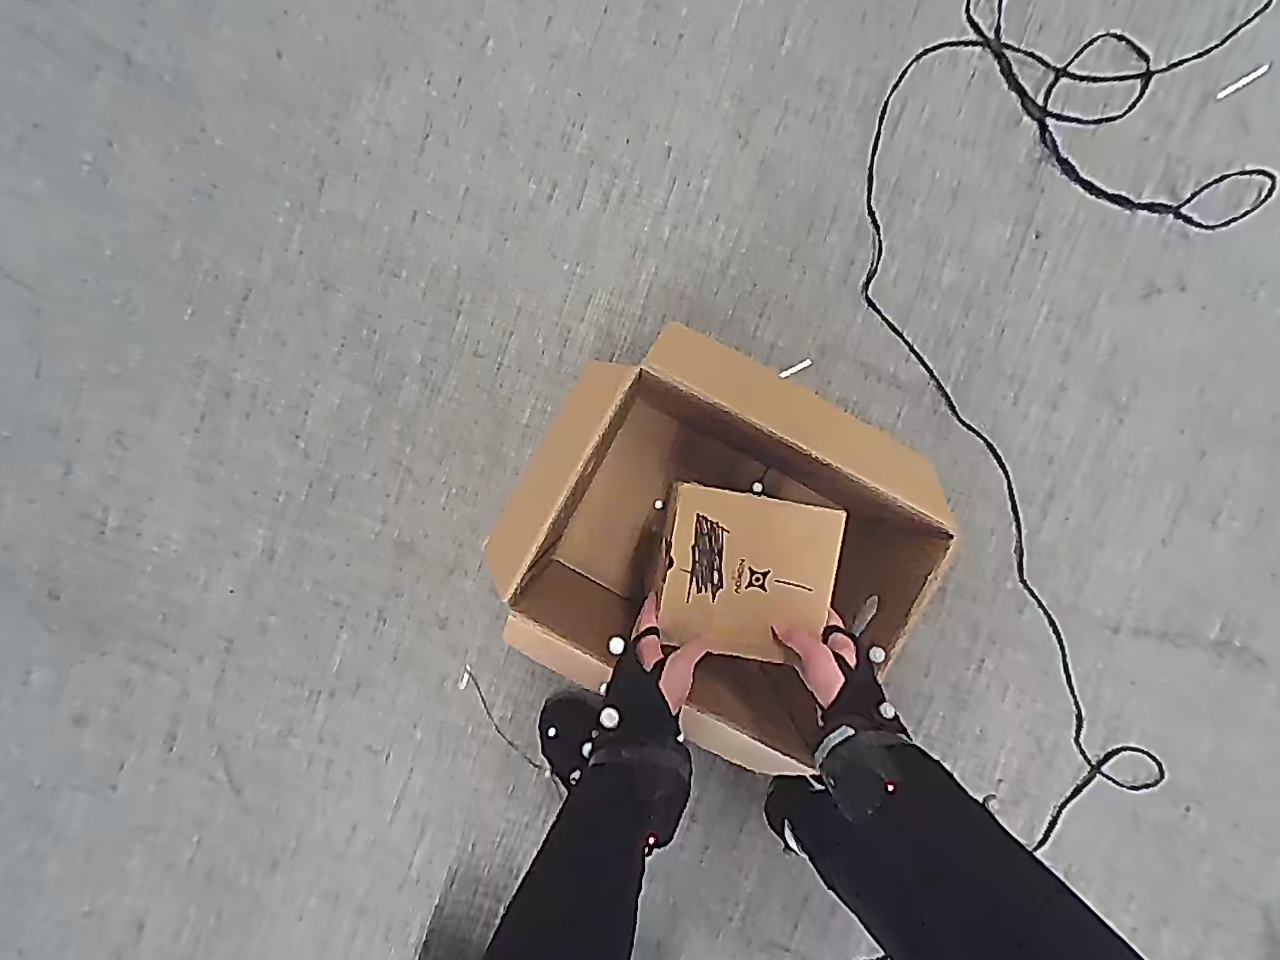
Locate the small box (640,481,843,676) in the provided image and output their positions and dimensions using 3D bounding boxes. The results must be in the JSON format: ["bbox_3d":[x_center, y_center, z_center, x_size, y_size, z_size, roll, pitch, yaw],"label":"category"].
[{"bbox_3d":[0.103,0.099,0.626,0.179,0.176,0.168,13,92,0],"label":"small box"}]
